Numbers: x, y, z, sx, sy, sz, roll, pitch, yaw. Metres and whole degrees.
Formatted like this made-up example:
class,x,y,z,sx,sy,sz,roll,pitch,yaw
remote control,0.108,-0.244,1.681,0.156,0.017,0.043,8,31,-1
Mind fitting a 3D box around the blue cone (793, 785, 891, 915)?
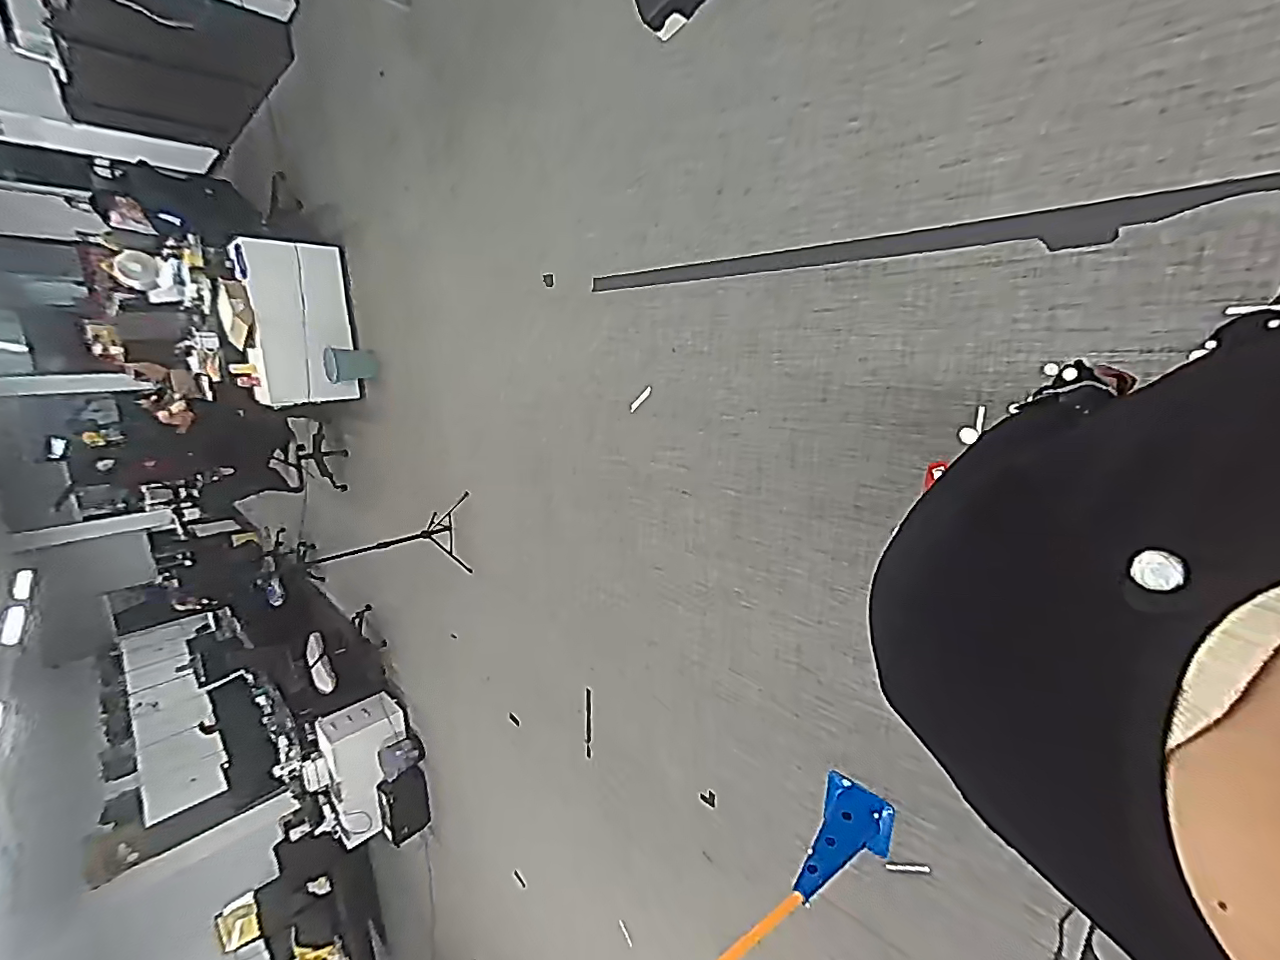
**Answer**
class,x,y,z,sx,sy,sz,roll,pitch,yaw
blue cone,0.540,1.062,1.519,0.193,0.380,0.192,17,113,42
